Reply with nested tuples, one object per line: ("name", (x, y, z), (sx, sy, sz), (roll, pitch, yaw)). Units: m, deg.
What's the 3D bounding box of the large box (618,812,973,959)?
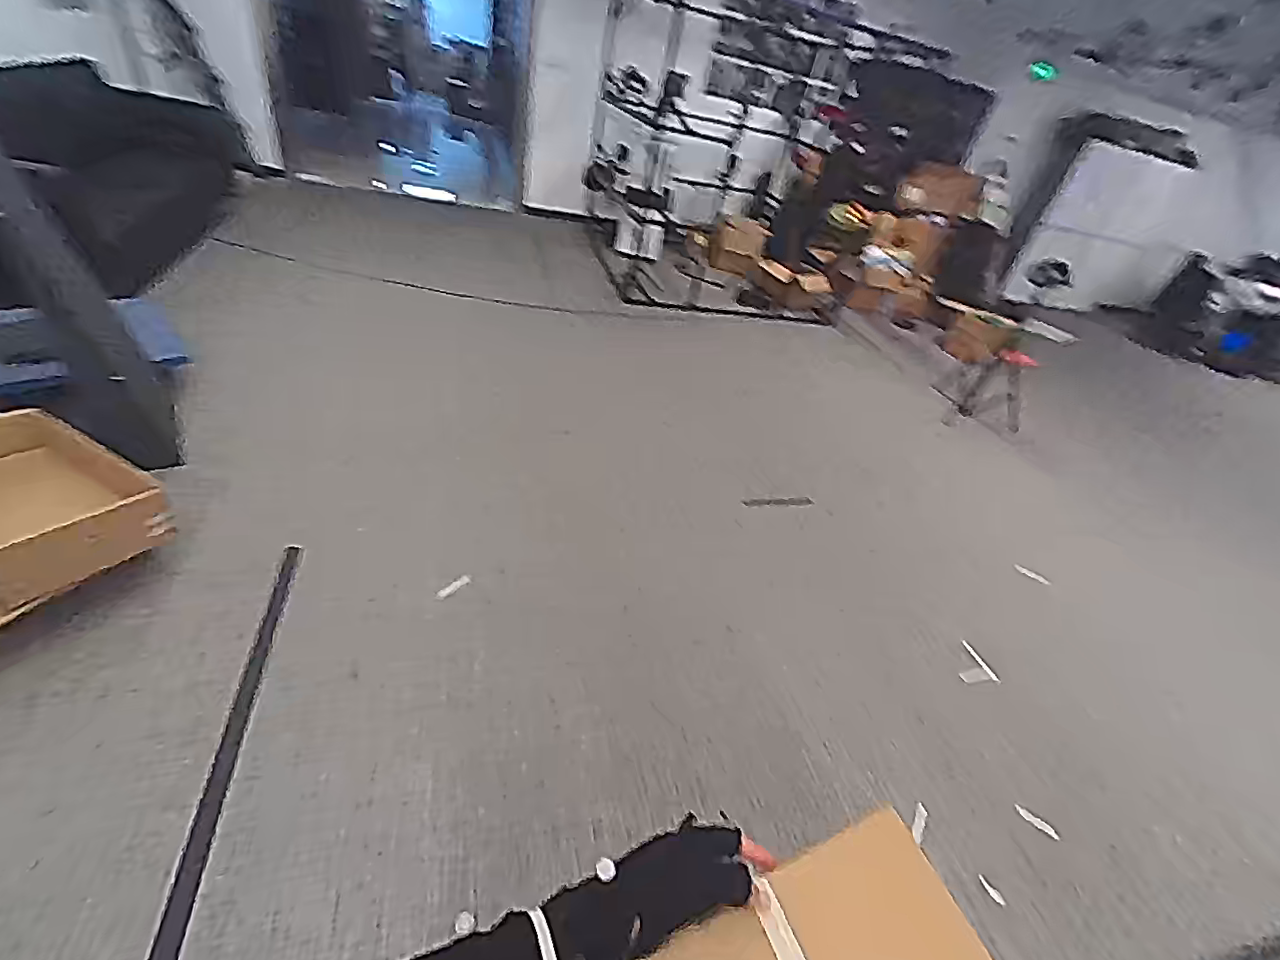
("large box", (0.159, 0.595, 0.467), (0.320, 0.320, 0.408), (-15, 51, -20))
